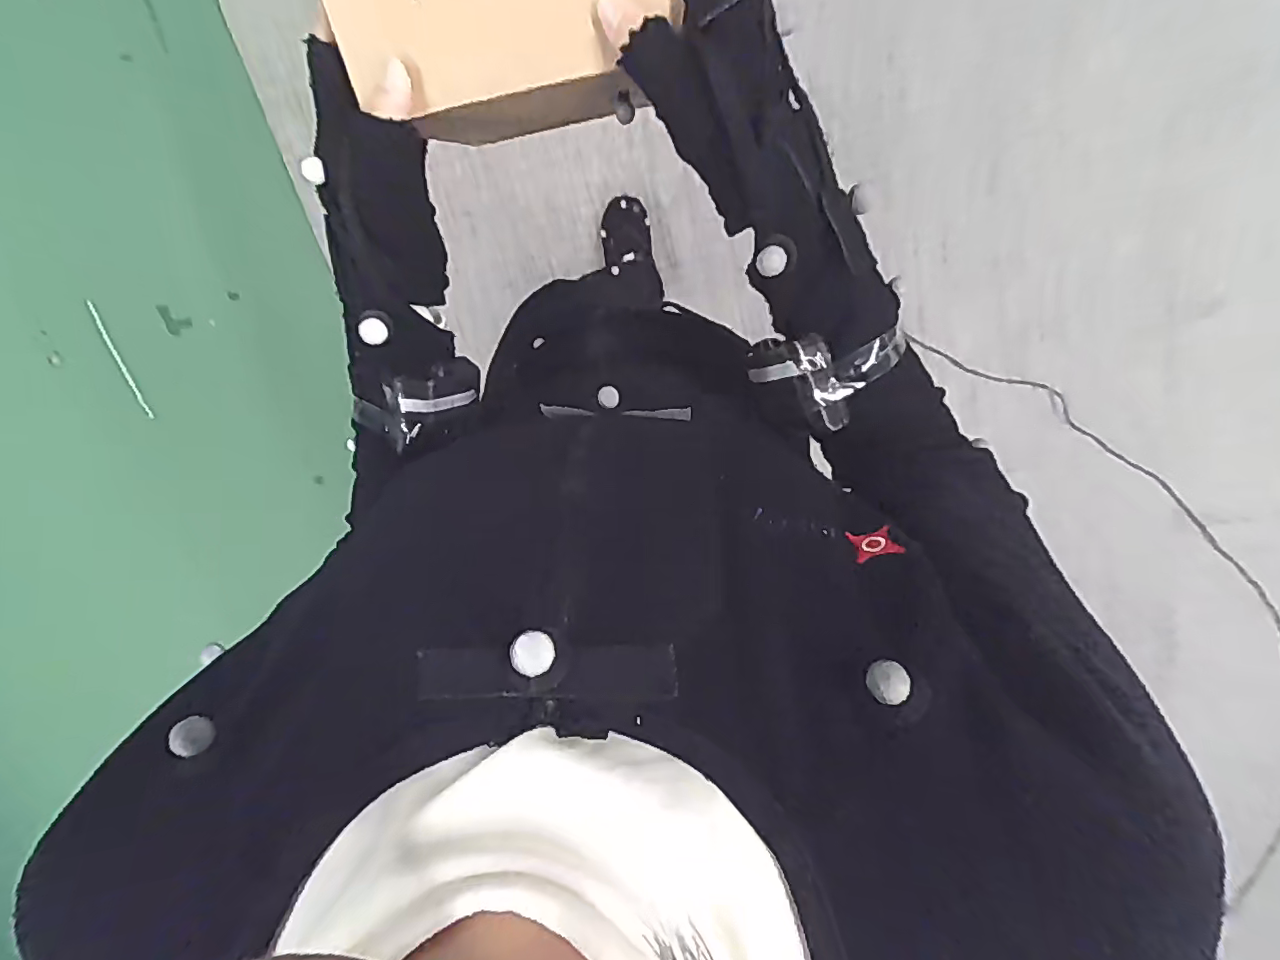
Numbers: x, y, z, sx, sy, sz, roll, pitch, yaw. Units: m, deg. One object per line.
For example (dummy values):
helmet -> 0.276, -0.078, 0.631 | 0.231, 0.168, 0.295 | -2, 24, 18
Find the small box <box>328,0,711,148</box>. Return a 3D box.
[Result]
small box -> -0.065, -0.302, 0.299 | 0.179, 0.176, 0.168 | -11, 117, 10

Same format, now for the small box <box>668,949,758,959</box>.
small box -> 0.142, 0.960, 0.941 | 0.179, 0.176, 0.168 | -14, 111, 10
